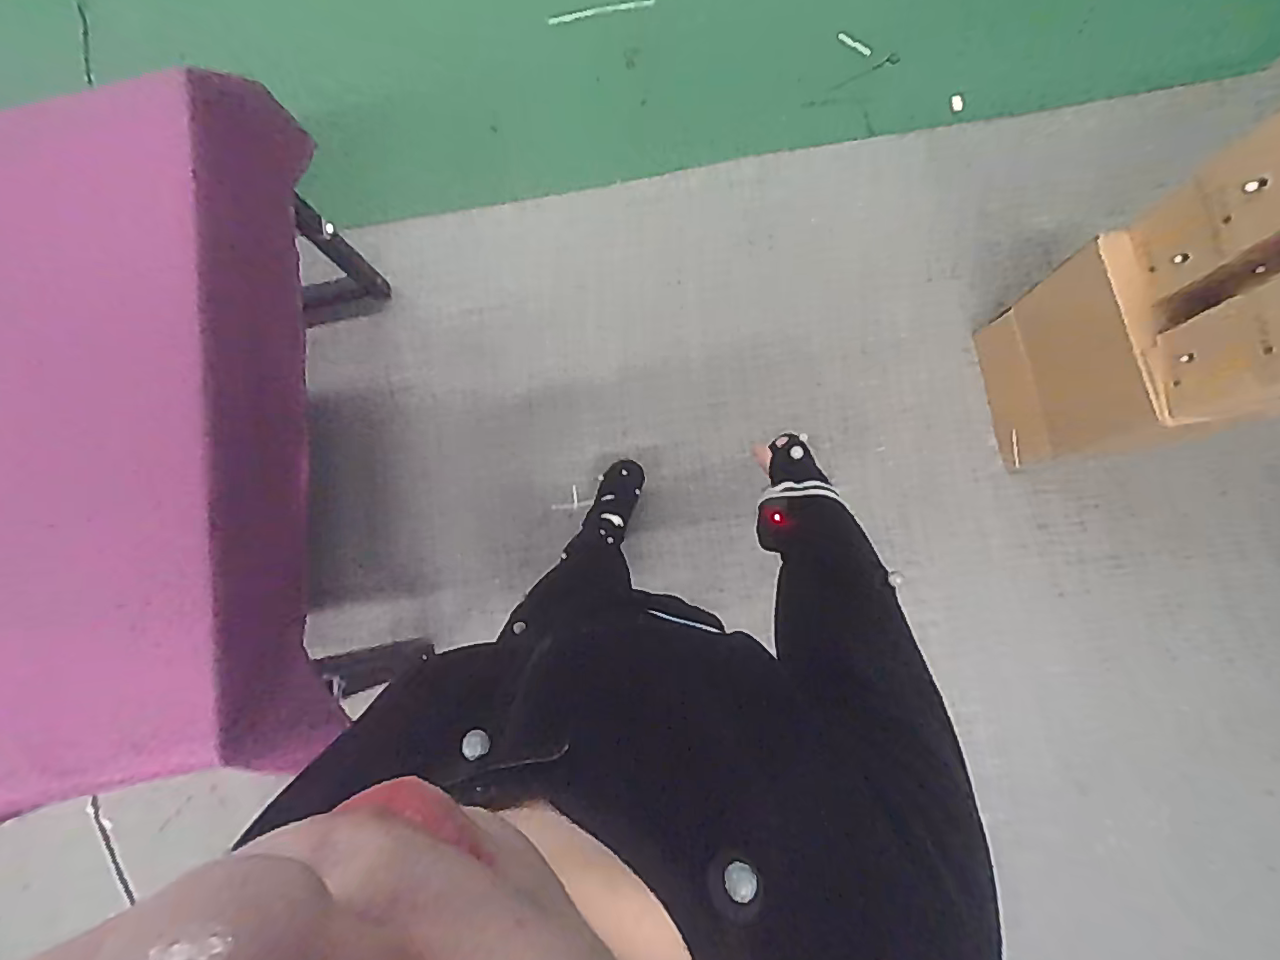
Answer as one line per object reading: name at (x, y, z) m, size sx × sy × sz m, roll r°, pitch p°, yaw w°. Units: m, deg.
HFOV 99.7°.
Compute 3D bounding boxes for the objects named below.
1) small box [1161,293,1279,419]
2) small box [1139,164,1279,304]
small box at (1.080, -0.209, 0.940) m, size 0.179 × 0.176 × 0.168 m, roll -2°, pitch 79°, yaw 5°
small box at (1.067, -0.439, 0.984) m, size 0.179 × 0.176 × 0.168 m, roll -7°, pitch 81°, yaw 4°
